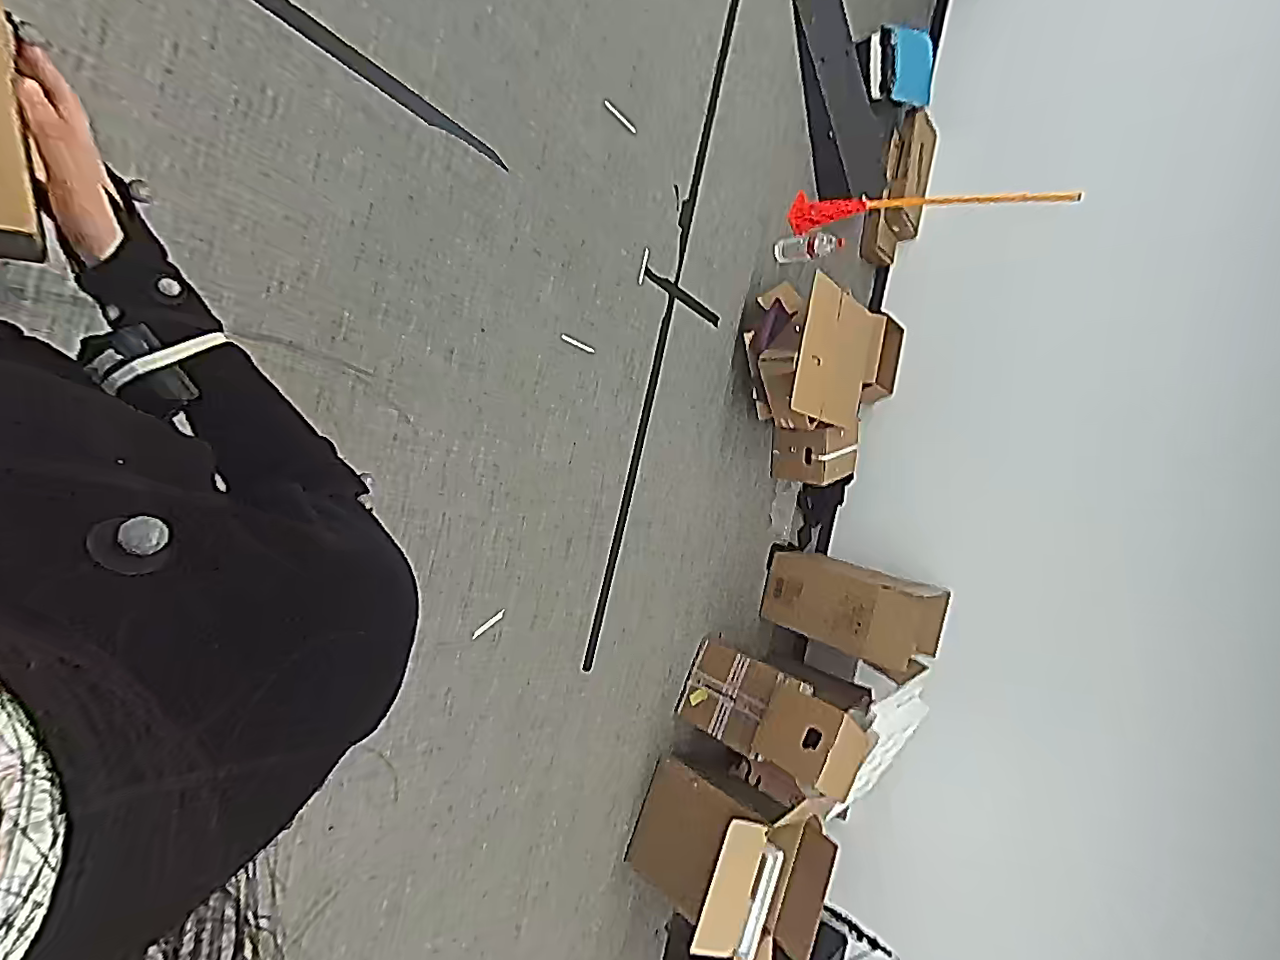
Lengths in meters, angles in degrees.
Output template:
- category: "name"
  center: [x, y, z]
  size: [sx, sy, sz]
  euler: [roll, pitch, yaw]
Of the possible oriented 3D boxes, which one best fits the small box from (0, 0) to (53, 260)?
- category: "small box"
  center: [-0.447, -0.231, 0.290]
  size: [0.168, 0.176, 0.179]
  euler: [-8, 106, -45]
